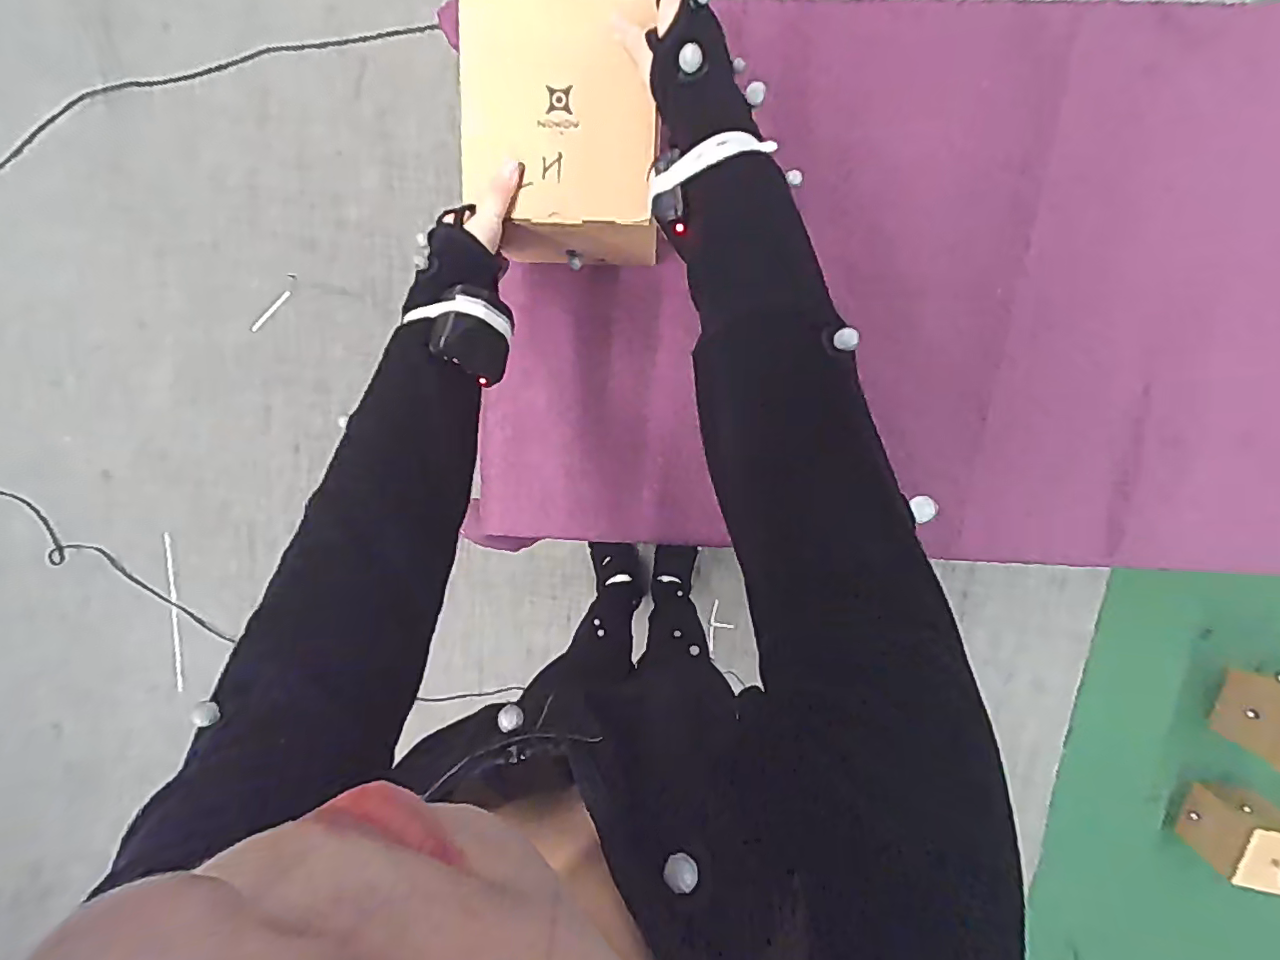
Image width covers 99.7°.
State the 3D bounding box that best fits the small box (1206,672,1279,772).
[{"bbox_3d":[1.597,0.612,1.355,0.168,0.176,0.179,8,99,1],"label":"small box"}]

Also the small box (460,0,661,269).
[{"bbox_3d":[-0.067,-0.320,0.532,0.168,0.176,0.179,3,100,2],"label":"small box"}]

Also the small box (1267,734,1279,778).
[{"bbox_3d":[1.586,0.641,1.195,0.179,0.176,0.168,8,100,2],"label":"small box"}]
